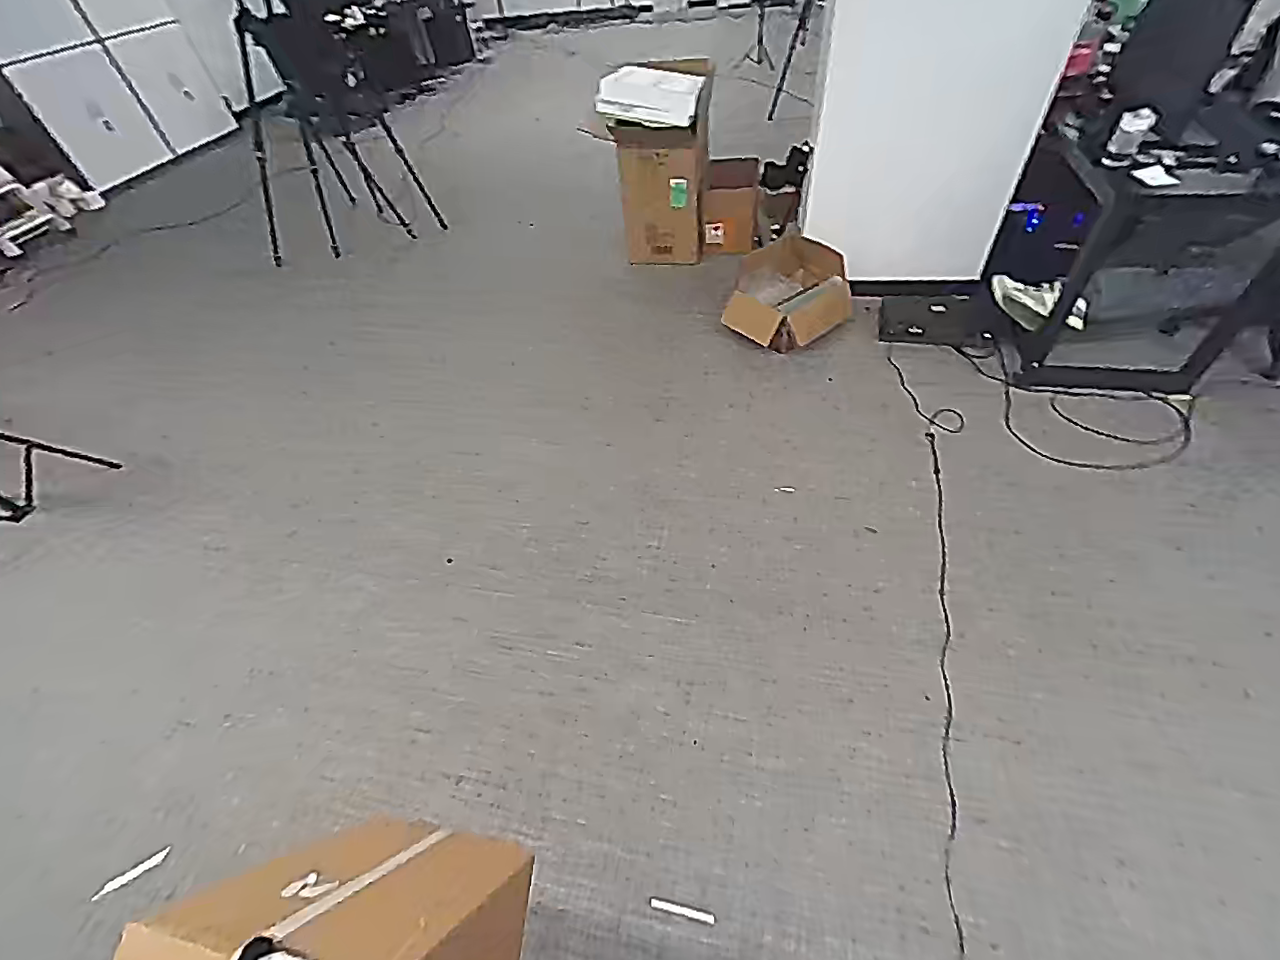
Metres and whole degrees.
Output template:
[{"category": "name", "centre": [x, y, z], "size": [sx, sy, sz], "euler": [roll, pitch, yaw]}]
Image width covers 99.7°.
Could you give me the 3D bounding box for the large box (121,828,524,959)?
[{"category": "large box", "centre": [-0.390, 0.707, 0.690], "size": [0.320, 0.408, 0.320], "euler": [3, 74, 13]}]
